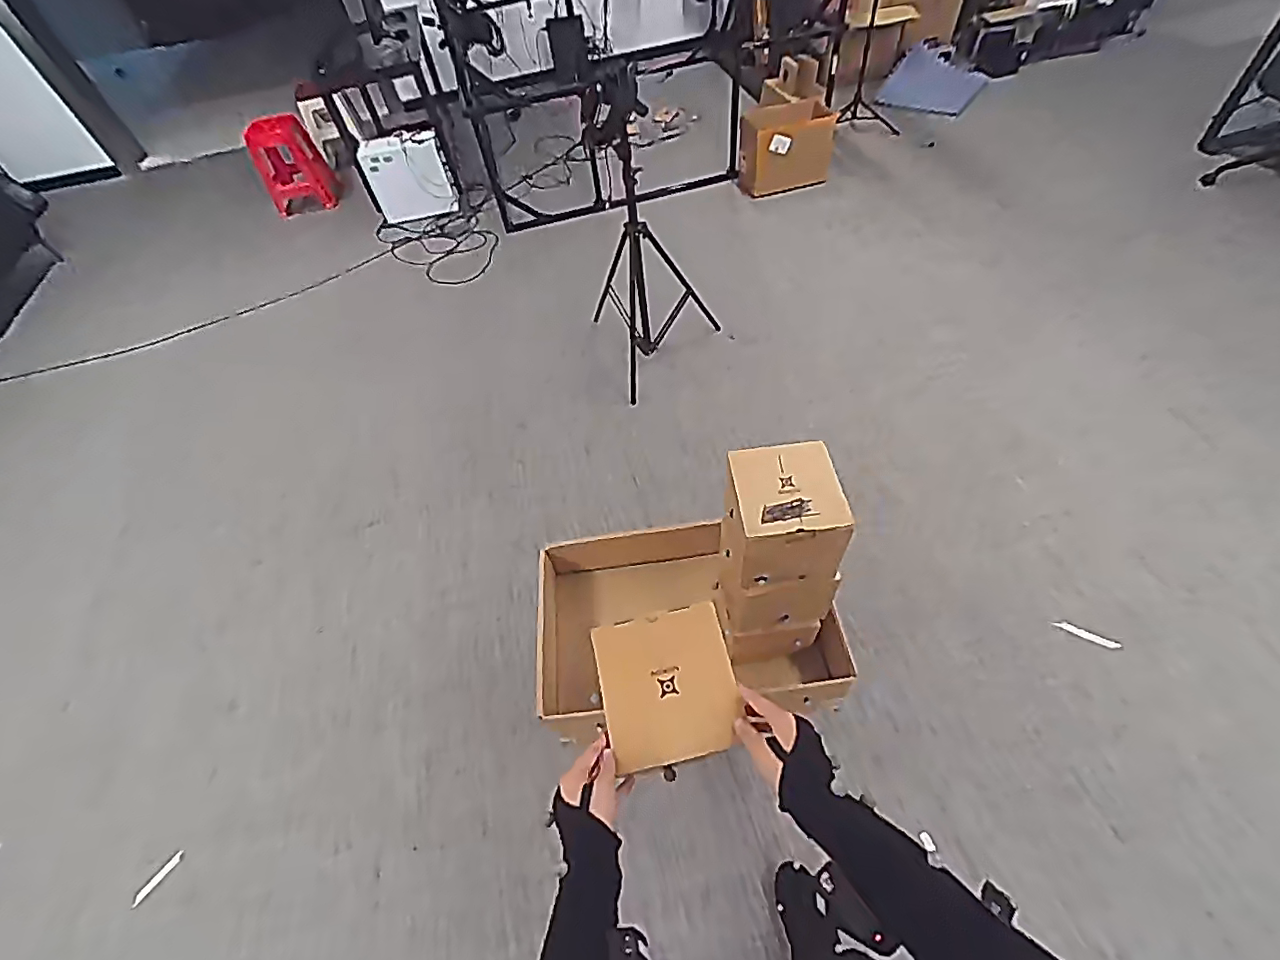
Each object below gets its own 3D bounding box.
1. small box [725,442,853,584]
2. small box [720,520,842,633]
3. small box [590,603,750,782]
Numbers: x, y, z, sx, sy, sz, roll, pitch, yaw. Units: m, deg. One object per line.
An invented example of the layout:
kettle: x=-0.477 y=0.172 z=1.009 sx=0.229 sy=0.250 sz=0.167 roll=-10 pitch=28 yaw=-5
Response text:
small box: x=0.238 y=0.063 z=0.910 sx=0.168 sy=0.176 sz=0.179 roll=-7 pitch=51 yaw=2
small box: x=0.256 y=0.175 z=1.031 sx=0.179 sy=0.176 sz=0.168 roll=-9 pitch=52 yaw=-1
small box: x=0.039 y=0.289 z=0.721 sx=0.168 sy=0.176 sz=0.179 roll=-13 pitch=58 yaw=-3
